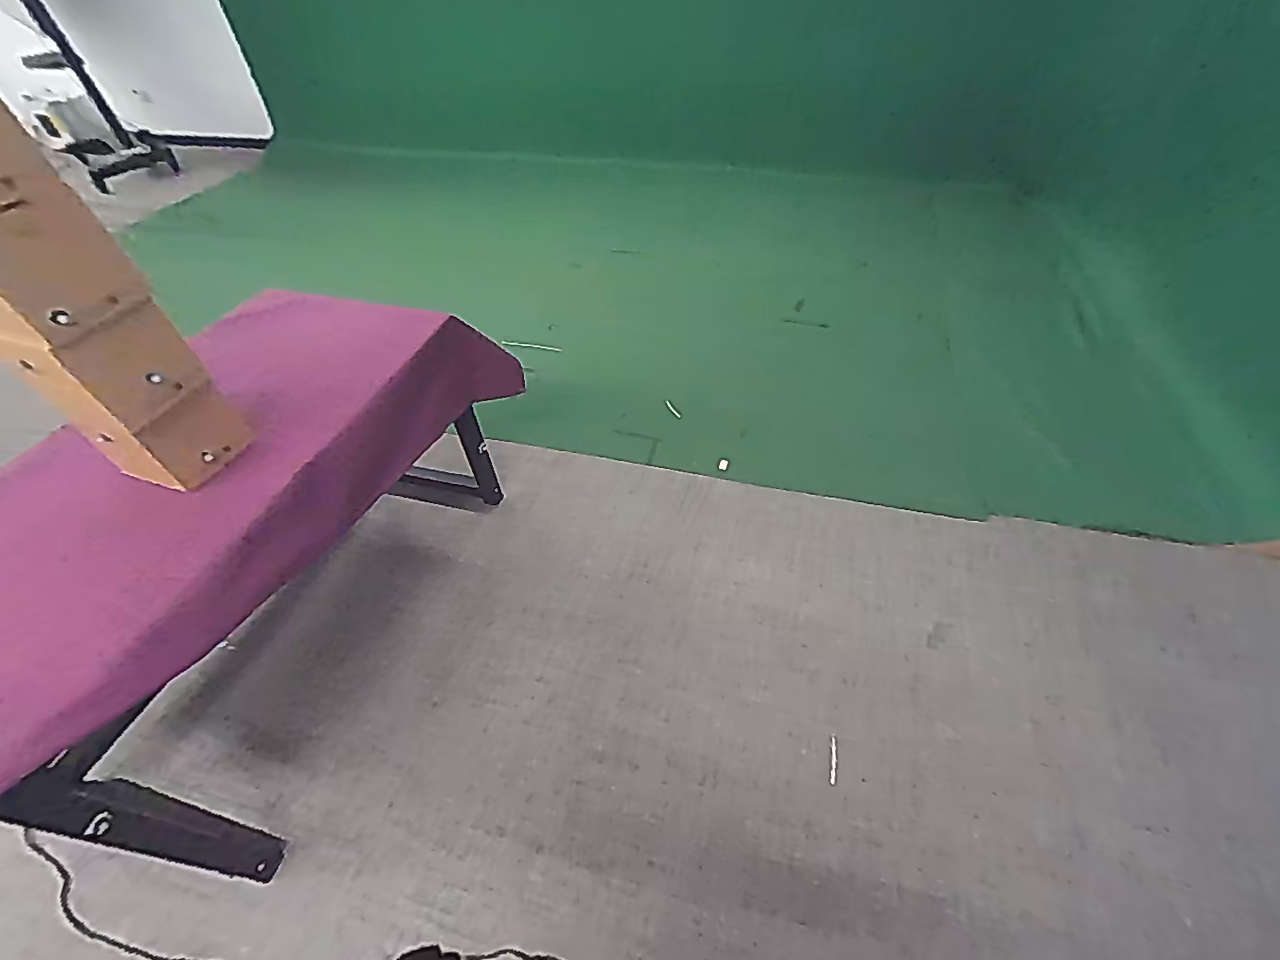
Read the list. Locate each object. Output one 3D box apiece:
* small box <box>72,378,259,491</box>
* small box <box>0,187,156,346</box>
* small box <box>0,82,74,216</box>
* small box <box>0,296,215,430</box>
[{"bbox_3d":[-0.899,-0.101,1.041,0.179,0.176,0.168,14,50,14],"label":"small box"},{"bbox_3d":[-0.887,-0.317,0.793,0.179,0.176,0.168,13,50,15],"label":"small box"},{"bbox_3d":[-0.898,-0.428,0.674,0.179,0.176,0.168,14,50,16],"label":"small box"},{"bbox_3d":[-0.891,-0.205,0.914,0.179,0.176,0.168,13,50,14],"label":"small box"}]
